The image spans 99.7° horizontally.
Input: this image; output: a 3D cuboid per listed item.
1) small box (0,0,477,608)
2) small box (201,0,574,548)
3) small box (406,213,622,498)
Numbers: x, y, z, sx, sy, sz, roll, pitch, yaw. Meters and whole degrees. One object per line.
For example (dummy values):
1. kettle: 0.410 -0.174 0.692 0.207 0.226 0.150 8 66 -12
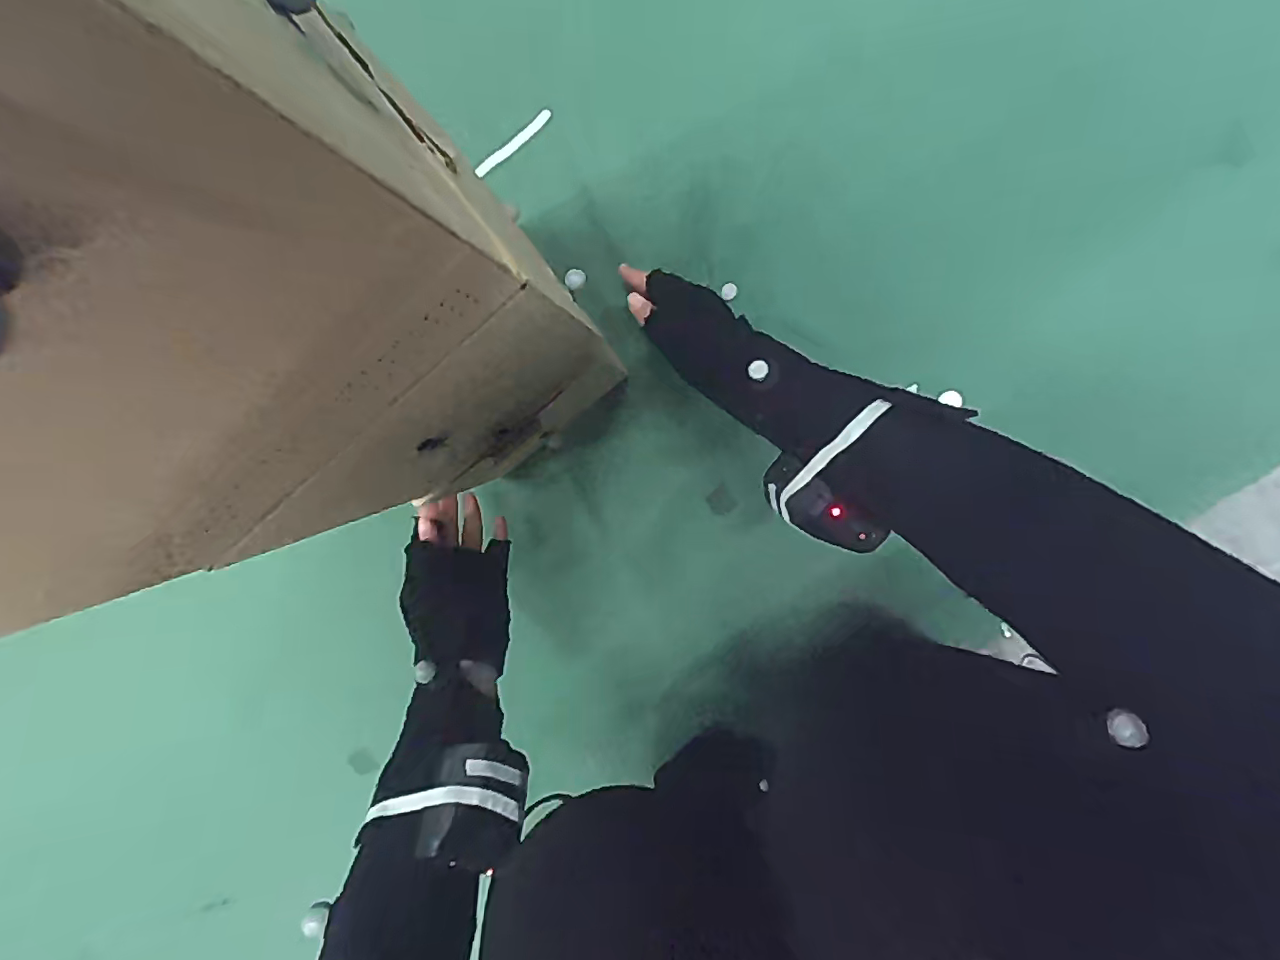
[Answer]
1. small box: -0.172 -0.069 0.119 0.179 0.176 0.168 -39 92 9
2. small box: -0.151 -0.093 0.275 0.179 0.176 0.168 -35 91 10
3. small box: -0.135 -0.110 0.440 0.168 0.176 0.179 -37 93 11
